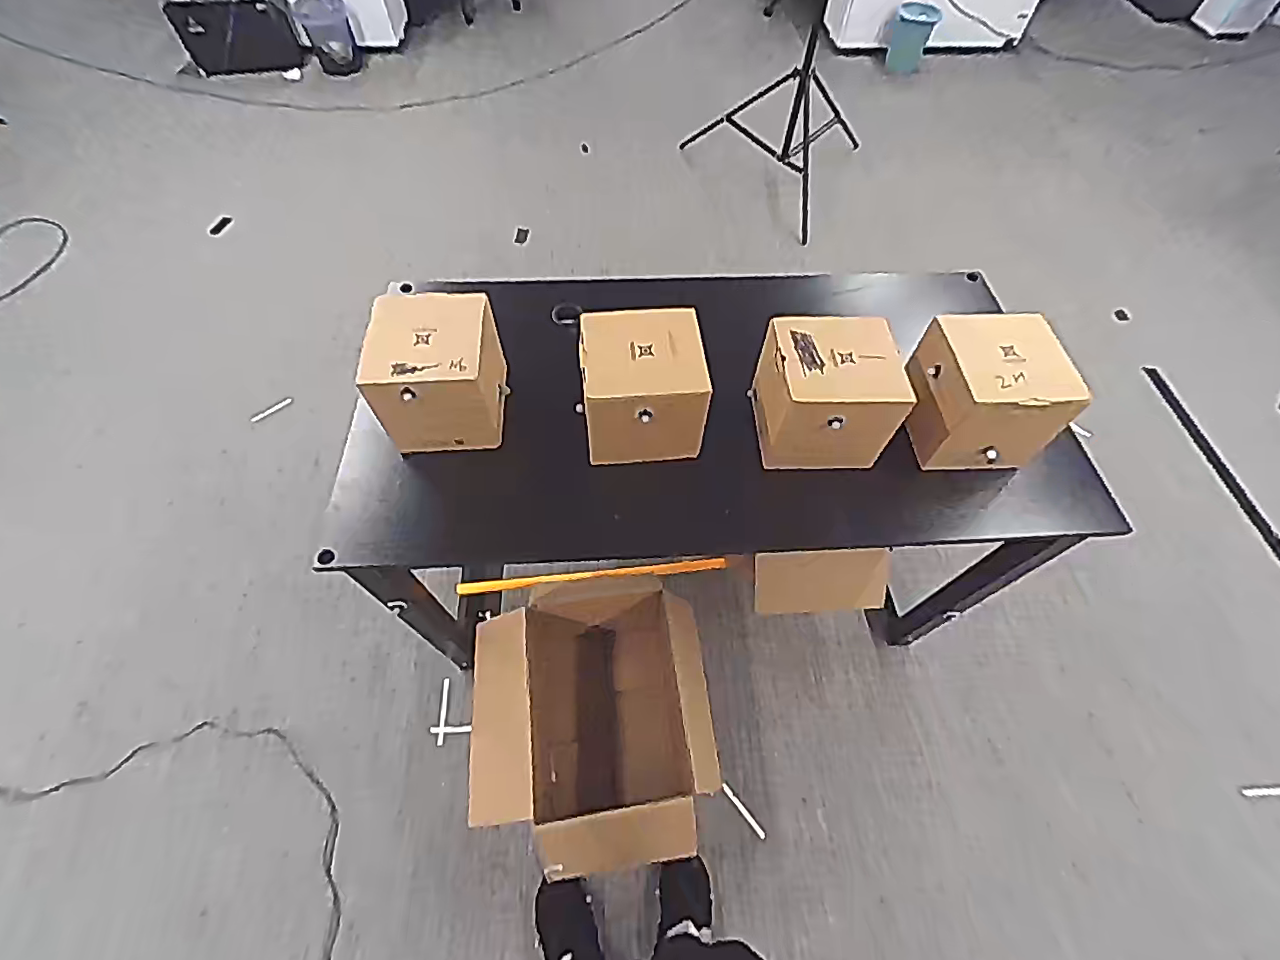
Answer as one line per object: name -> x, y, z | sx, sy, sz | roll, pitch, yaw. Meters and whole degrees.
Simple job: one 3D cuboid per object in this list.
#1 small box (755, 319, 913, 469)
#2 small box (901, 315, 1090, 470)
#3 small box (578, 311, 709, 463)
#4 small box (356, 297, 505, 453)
small box -> 0.280, -0.128, 0.833 | 0.179, 0.176, 0.168 | 0, 58, -2
small box -> 0.526, -0.133, 0.841 | 0.168, 0.176, 0.179 | -2, 58, 0
small box -> 0.001, -0.138, 0.837 | 0.179, 0.176, 0.168 | -4, 60, -5
small box -> -0.310, -0.160, 0.841 | 0.168, 0.176, 0.179 | -3, 58, -3
